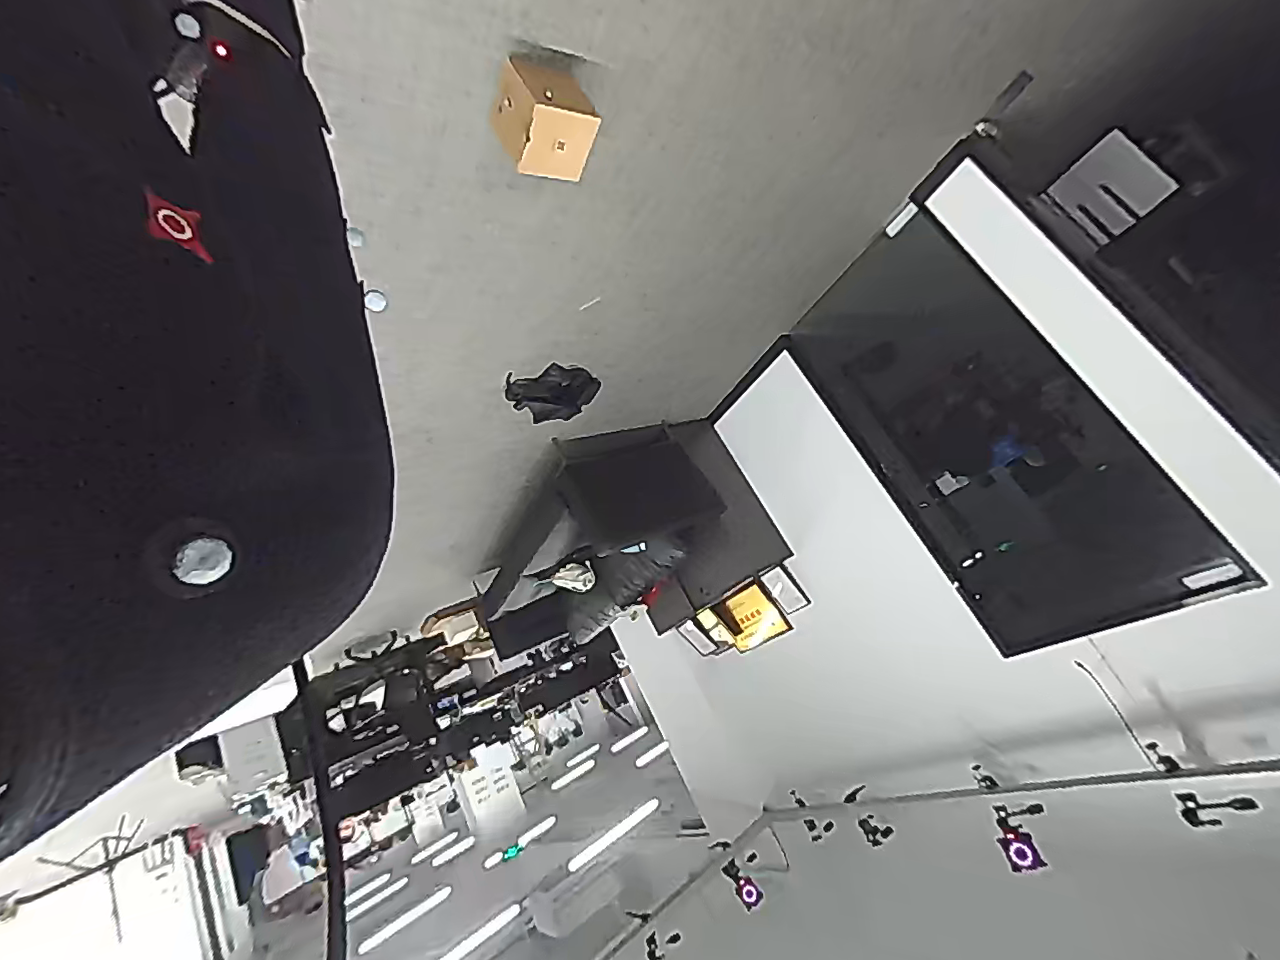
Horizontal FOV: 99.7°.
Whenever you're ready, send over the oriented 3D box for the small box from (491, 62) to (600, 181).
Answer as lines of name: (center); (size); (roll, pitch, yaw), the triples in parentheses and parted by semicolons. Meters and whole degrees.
small box: (-0.230, -0.853, 1.292); (0.179, 0.176, 0.168); (-15, 158, -37)
